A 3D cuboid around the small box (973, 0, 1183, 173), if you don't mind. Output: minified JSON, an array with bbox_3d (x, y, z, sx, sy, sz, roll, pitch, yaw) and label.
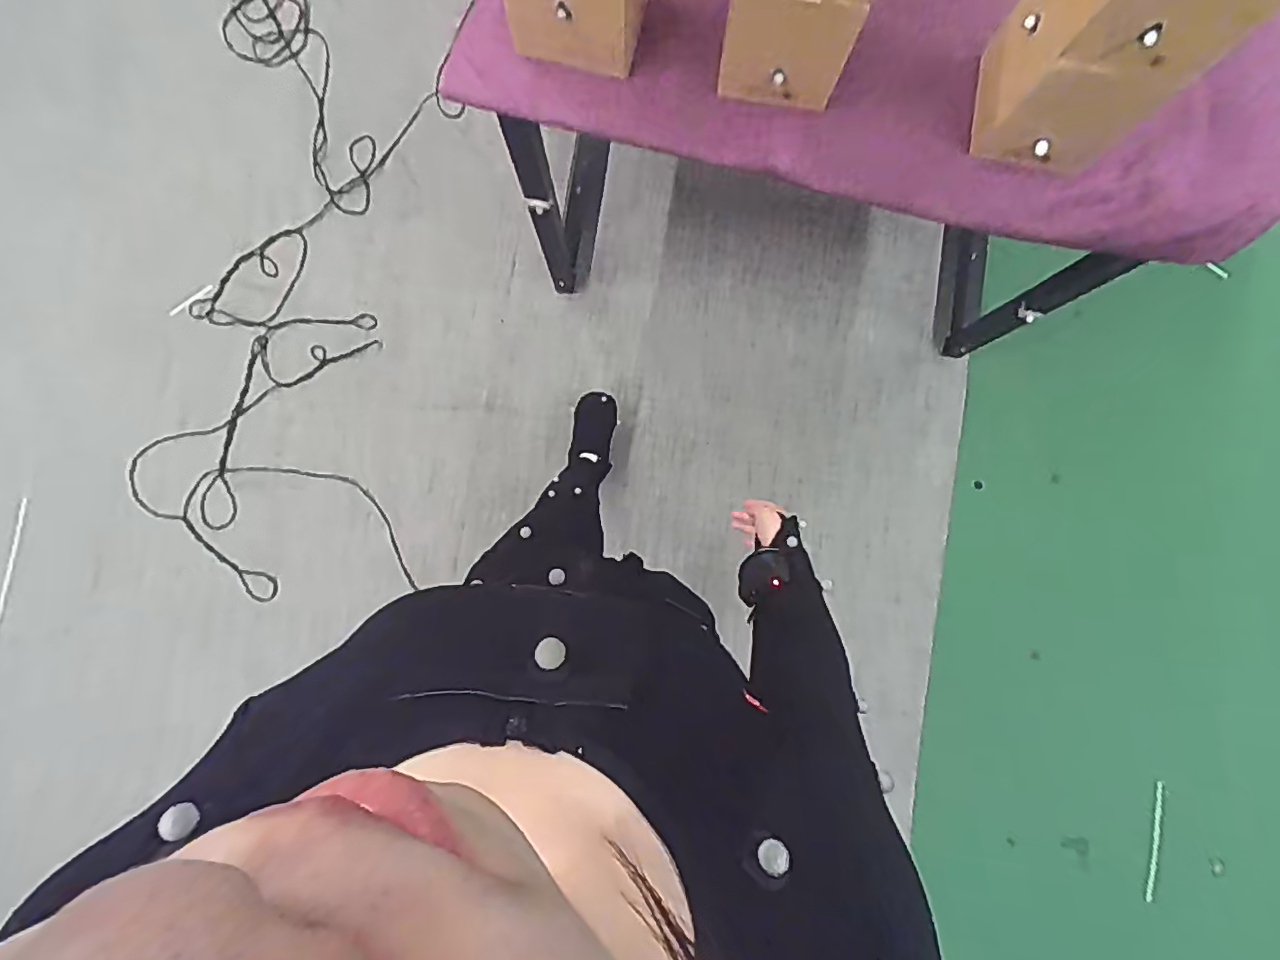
[{"bbox_3d":[0.595,-0.569,0.747,0.168,0.176,0.179,10,86,0],"label":"small box"}]

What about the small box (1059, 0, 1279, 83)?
[{"bbox_3d":[0.600,-0.587,0.586,0.168,0.176,0.179,9,86,0],"label":"small box"}]

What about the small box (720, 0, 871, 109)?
[{"bbox_3d":[0.211,-0.664,0.746,0.168,0.176,0.179,8,85,0],"label":"small box"}]
